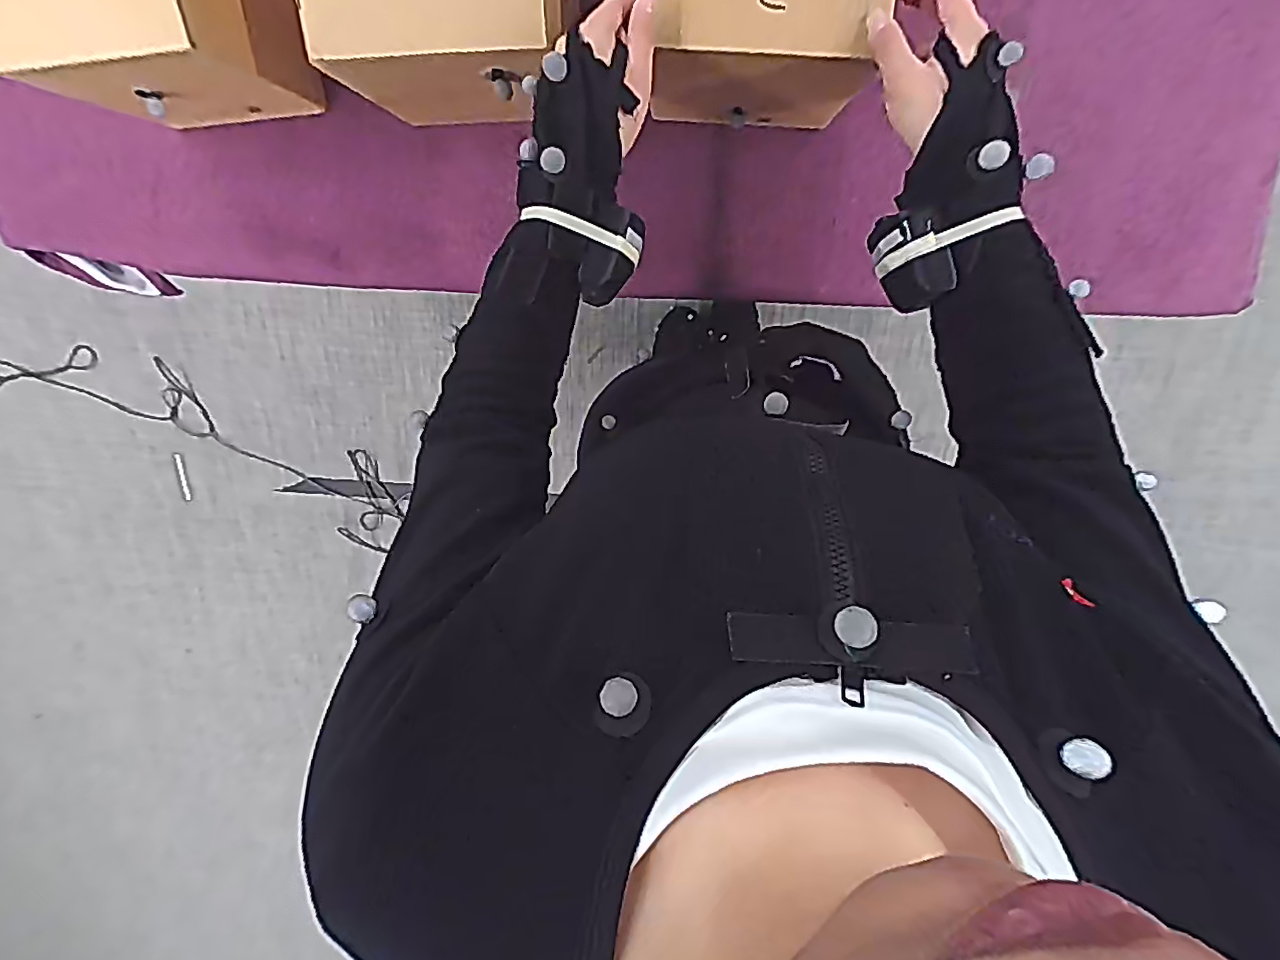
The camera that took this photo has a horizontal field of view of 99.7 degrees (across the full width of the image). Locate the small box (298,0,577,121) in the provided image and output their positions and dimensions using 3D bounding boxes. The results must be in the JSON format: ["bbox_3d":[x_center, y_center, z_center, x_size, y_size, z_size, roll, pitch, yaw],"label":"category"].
[{"bbox_3d":[-0.147,-0.404,0.426,0.179,0.176,0.168,-1,109,3],"label":"small box"}]

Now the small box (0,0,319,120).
[{"bbox_3d":[-0.403,-0.416,0.441,0.168,0.176,0.179,-3,109,5],"label":"small box"}]
